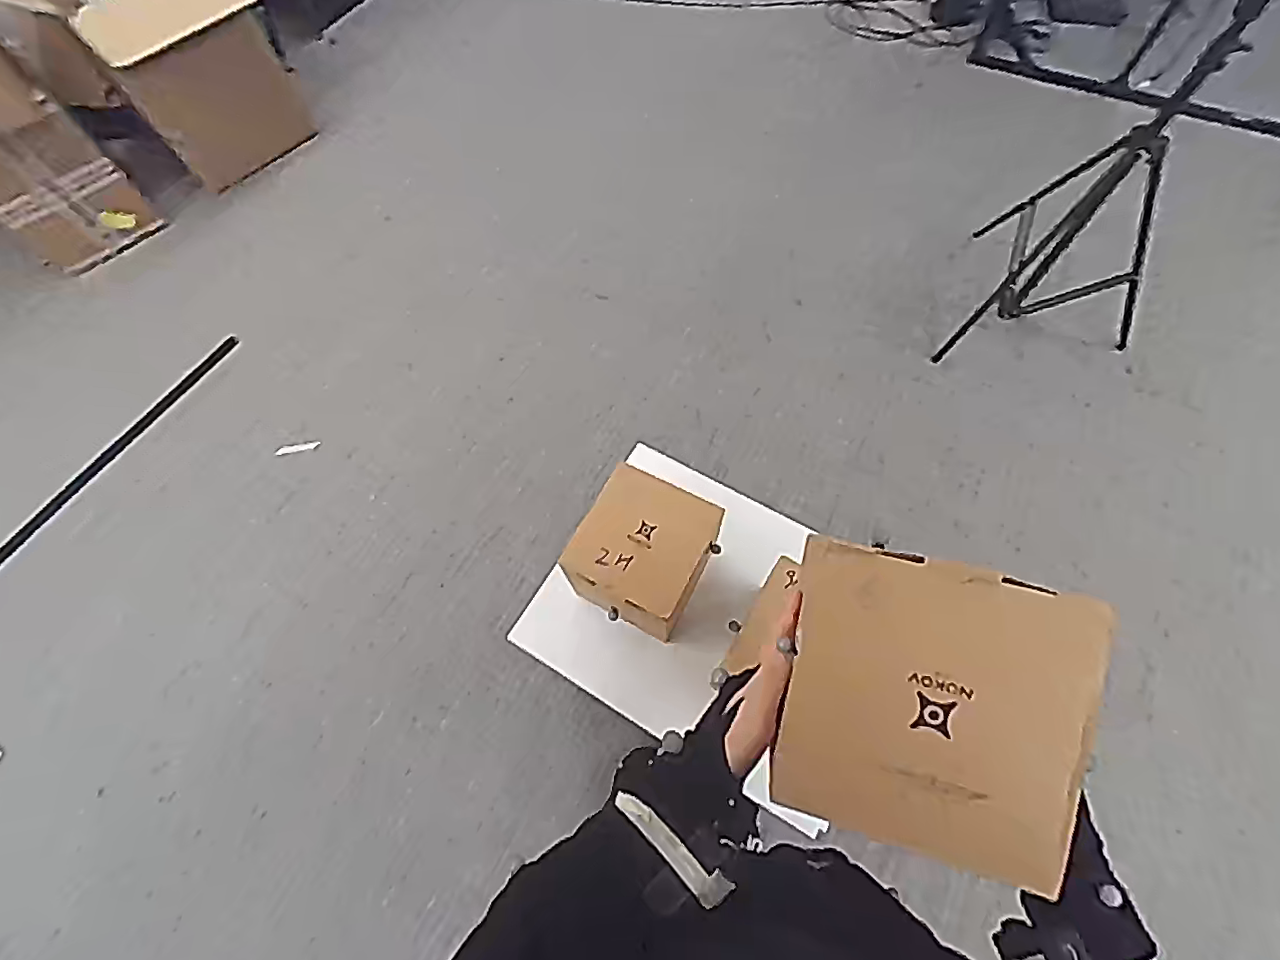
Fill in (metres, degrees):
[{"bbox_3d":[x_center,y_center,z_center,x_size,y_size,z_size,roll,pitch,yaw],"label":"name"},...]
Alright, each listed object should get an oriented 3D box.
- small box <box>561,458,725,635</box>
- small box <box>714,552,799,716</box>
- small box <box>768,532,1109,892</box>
[{"bbox_3d":[0.008,0.103,0.794,0.168,0.176,0.179,26,69,14],"label":"small box"},{"bbox_3d":[0.212,0.231,0.725,0.168,0.176,0.179,29,71,17],"label":"small box"},{"bbox_3d":[0.195,0.142,0.408,0.168,0.176,0.179,13,89,14],"label":"small box"}]
